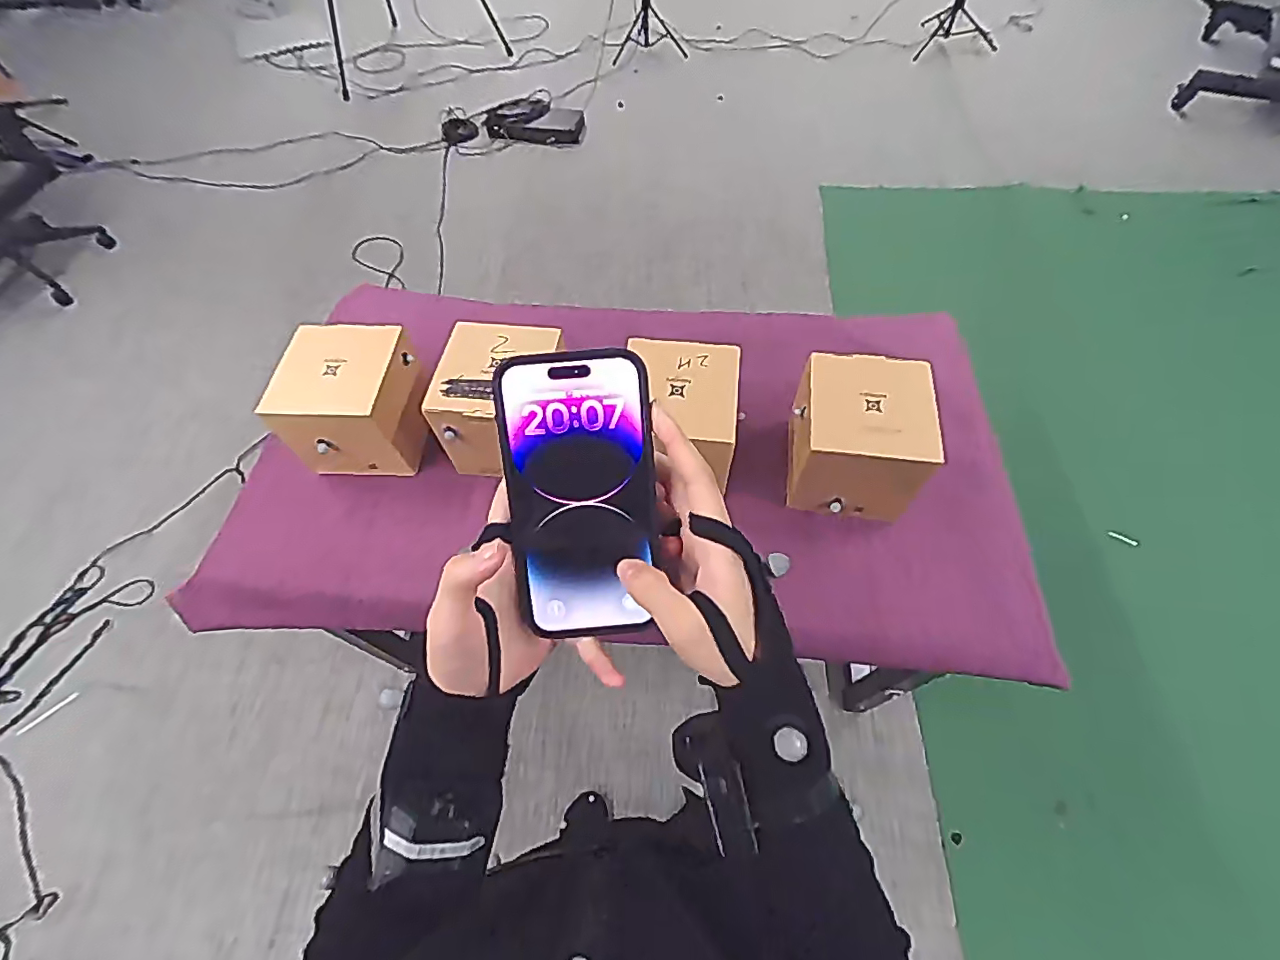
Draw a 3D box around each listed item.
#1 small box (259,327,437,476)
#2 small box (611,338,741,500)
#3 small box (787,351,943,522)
[{"bbox_3d":[-0.442,-0.119,0.855,0.168,0.176,0.179,1,58,3],"label":"small box"},{"bbox_3d":[0.056,-0.086,0.816,0.168,0.176,0.179,6,59,5],"label":"small box"},{"bbox_3d":[0.314,-0.061,0.792,0.168,0.176,0.179,7,59,7],"label":"small box"}]
